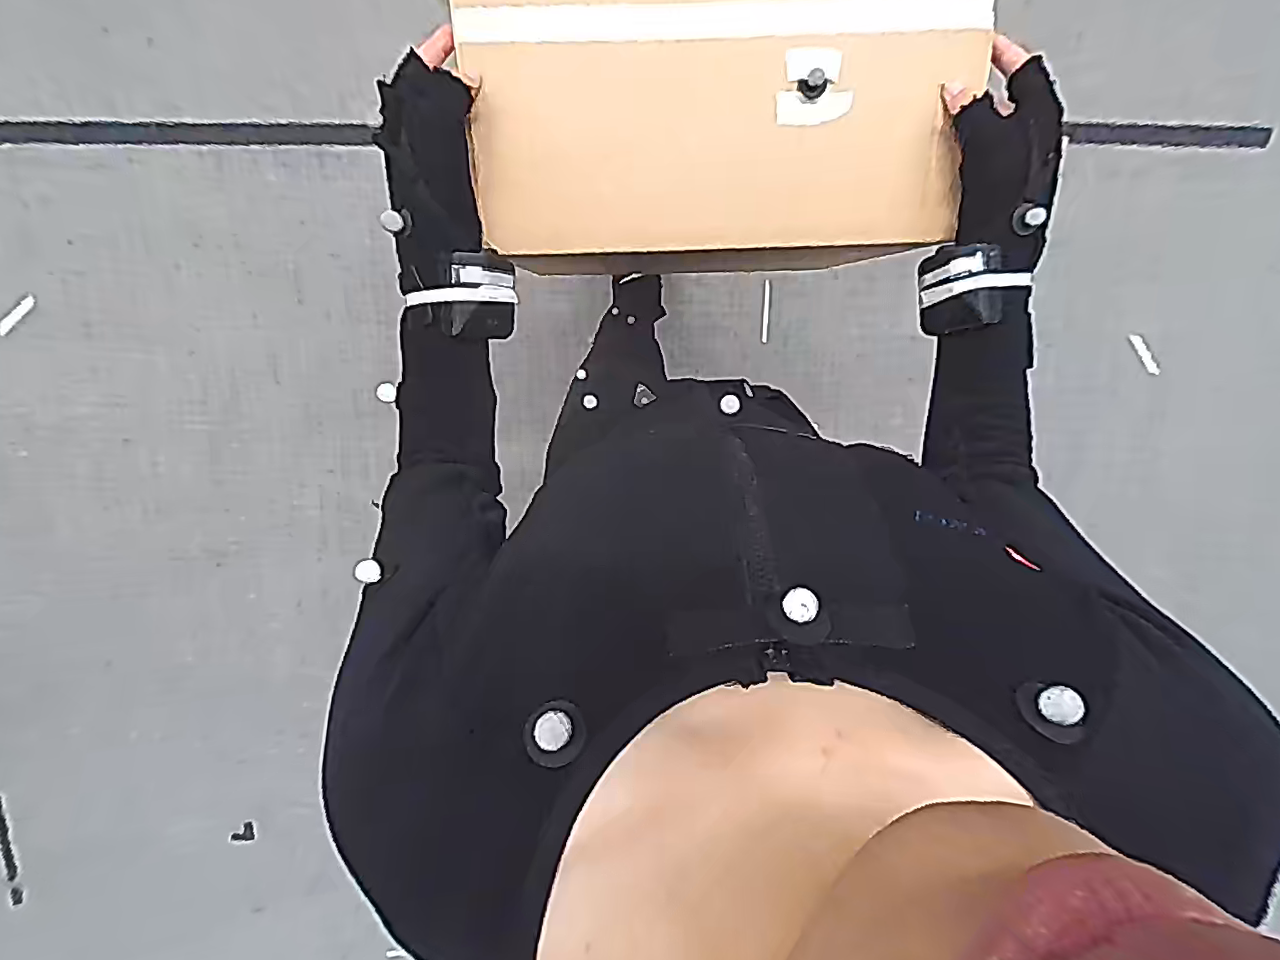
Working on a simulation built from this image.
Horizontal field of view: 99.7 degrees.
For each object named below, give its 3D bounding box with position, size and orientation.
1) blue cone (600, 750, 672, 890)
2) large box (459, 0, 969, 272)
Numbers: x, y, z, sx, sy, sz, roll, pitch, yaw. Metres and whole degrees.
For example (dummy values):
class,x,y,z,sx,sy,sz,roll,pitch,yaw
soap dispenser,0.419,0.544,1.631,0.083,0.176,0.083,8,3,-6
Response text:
class,x,y,z,sx,sy,sz,roll,pitch,yaw
blue cone,-0.010,0.968,1.510,0.193,0.380,0.192,21,100,-6
large box,0.053,-0.401,0.561,0.408,0.320,0.320,-2,107,-2
